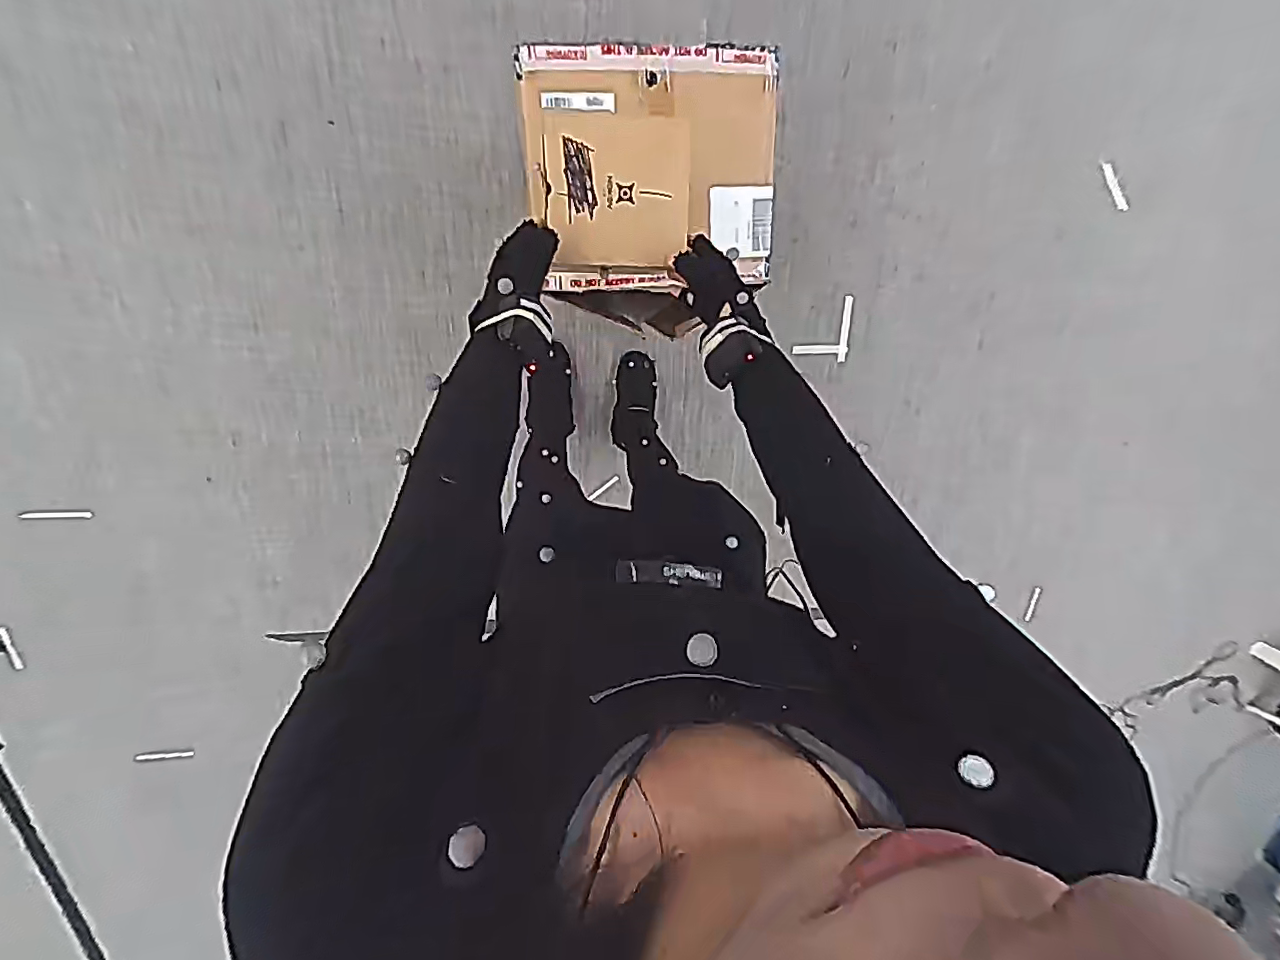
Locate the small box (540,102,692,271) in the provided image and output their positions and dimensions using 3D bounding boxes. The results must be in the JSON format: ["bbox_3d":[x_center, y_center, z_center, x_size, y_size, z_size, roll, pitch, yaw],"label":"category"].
[{"bbox_3d":[-0.040,-0.369,0.711,0.179,0.176,0.168,-2,109,-10],"label":"small box"}]
